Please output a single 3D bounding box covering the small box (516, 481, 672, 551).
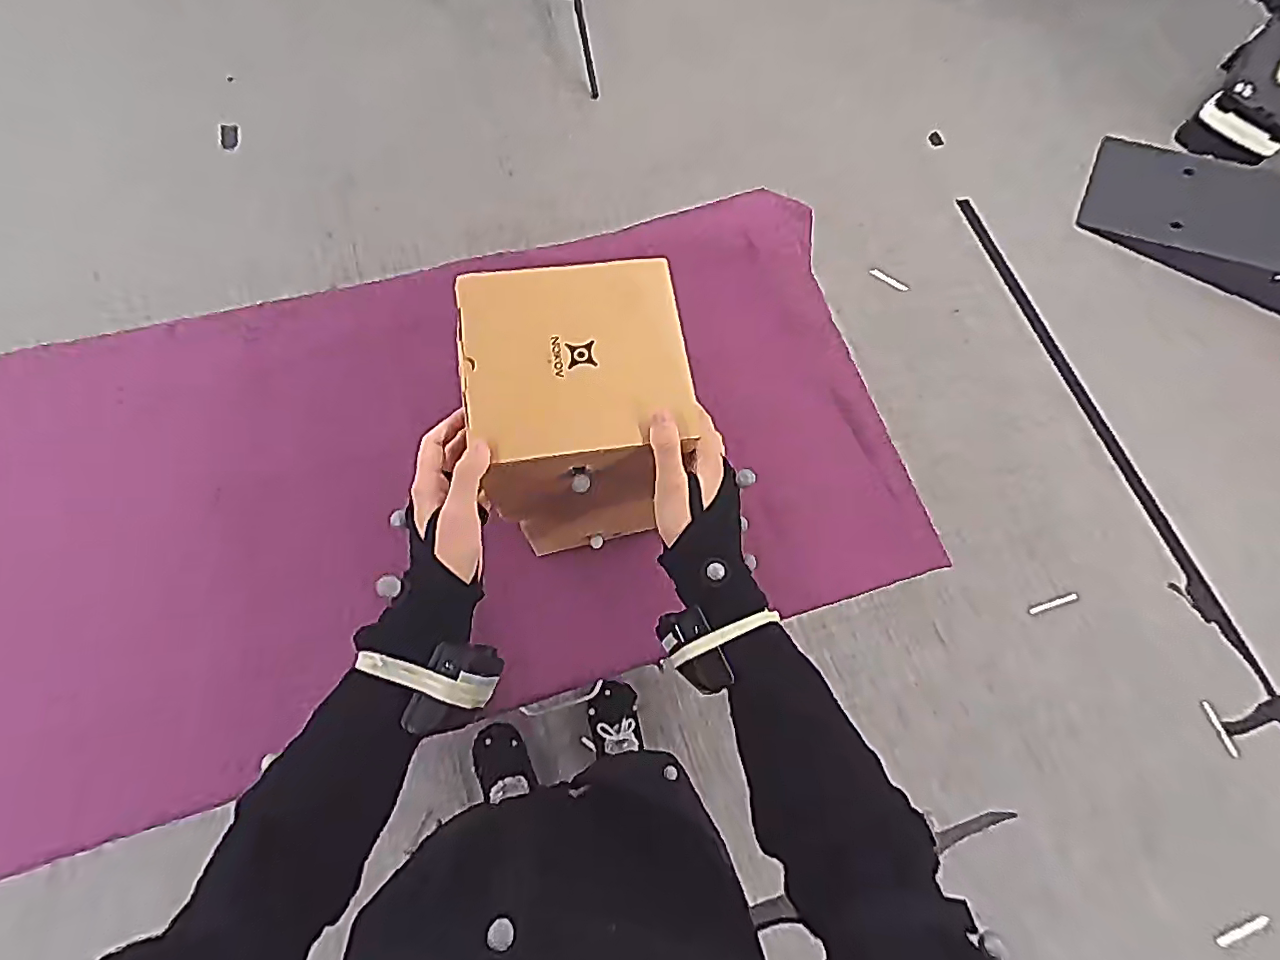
[{"bbox_3d":[-0.070,-0.027,0.654,0.168,0.176,0.179,-12,74,-8],"label":"small box"}]

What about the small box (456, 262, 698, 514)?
[{"bbox_3d":[-0.057,-0.073,0.499,0.179,0.176,0.168,-8,73,-6],"label":"small box"}]
